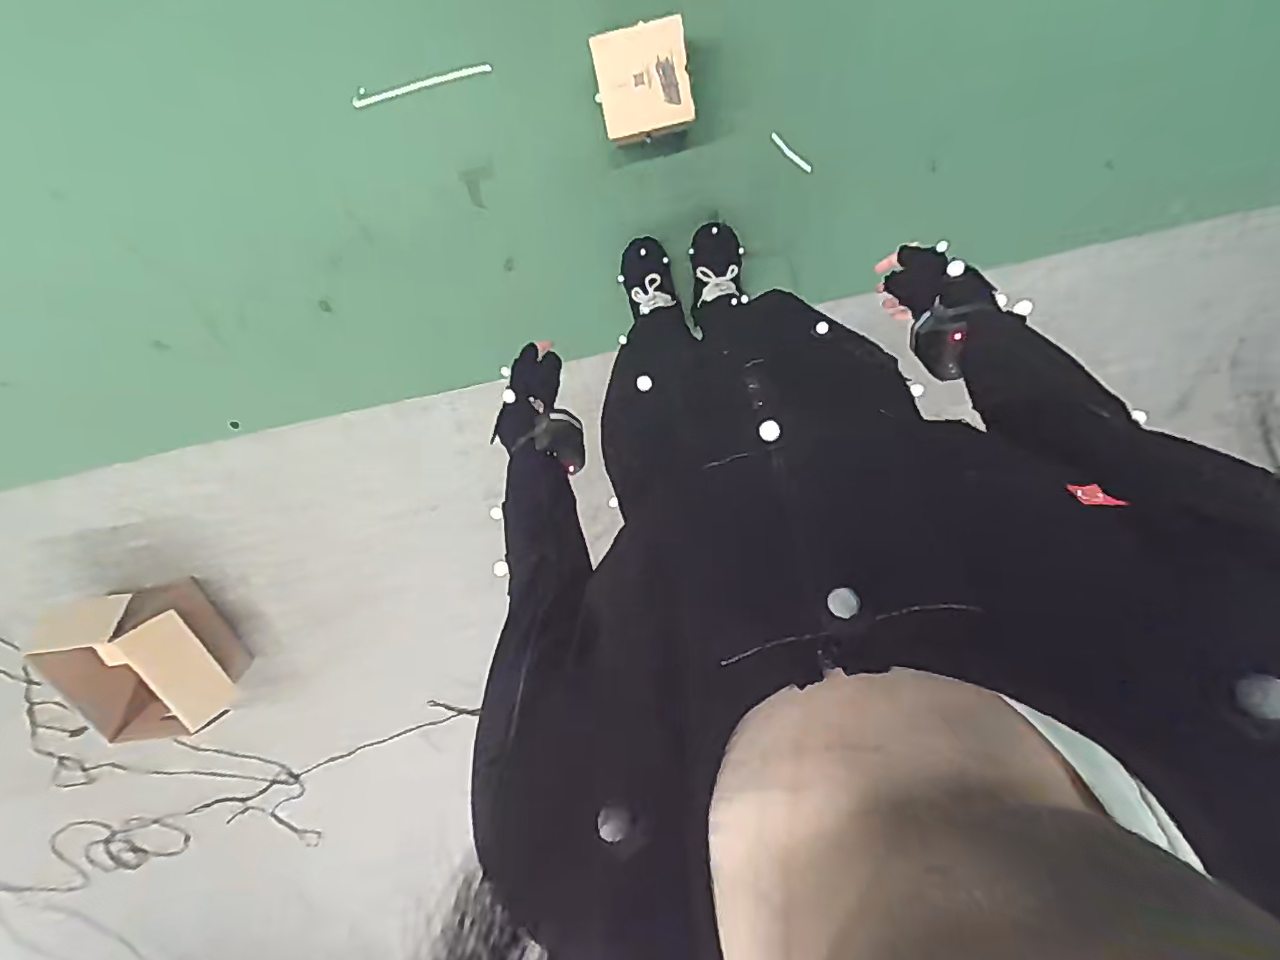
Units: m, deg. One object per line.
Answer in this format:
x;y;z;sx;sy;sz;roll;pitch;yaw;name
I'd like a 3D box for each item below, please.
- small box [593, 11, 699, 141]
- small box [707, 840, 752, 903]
0.015;-0.792;1.077;0.179;0.176;0.168;-9;117;7;small box
0.400;1.756;2.428;0.168;0.176;0.179;-12;117;7;small box
